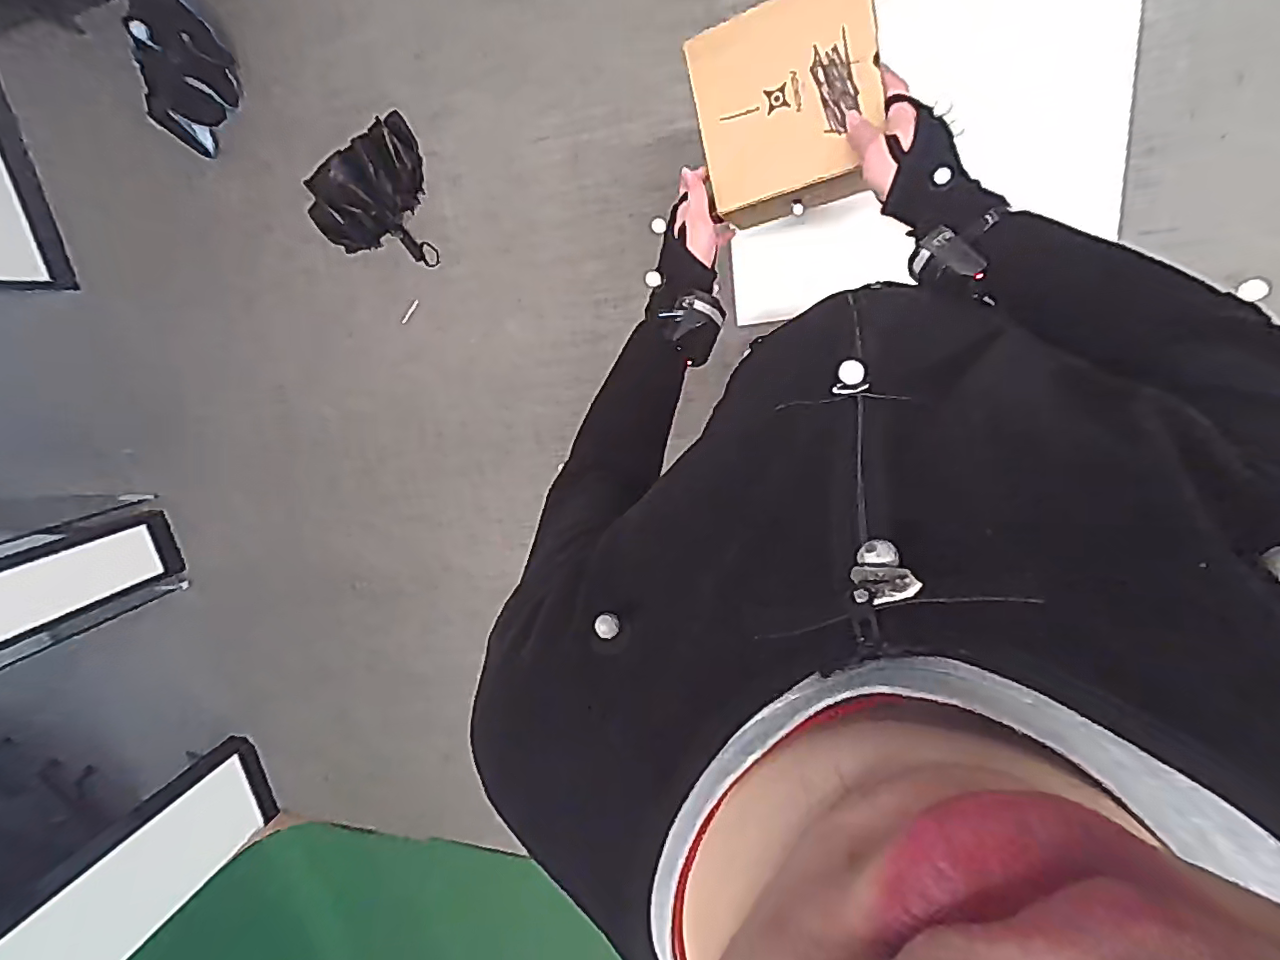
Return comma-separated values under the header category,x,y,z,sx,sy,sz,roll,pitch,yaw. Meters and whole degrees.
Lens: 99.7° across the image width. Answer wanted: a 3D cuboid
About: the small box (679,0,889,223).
category,x,y,z,sx,sy,sz,roll,pitch,yaw
small box,0.161,-0.397,0.591,0.179,0.176,0.168,-9,106,23
